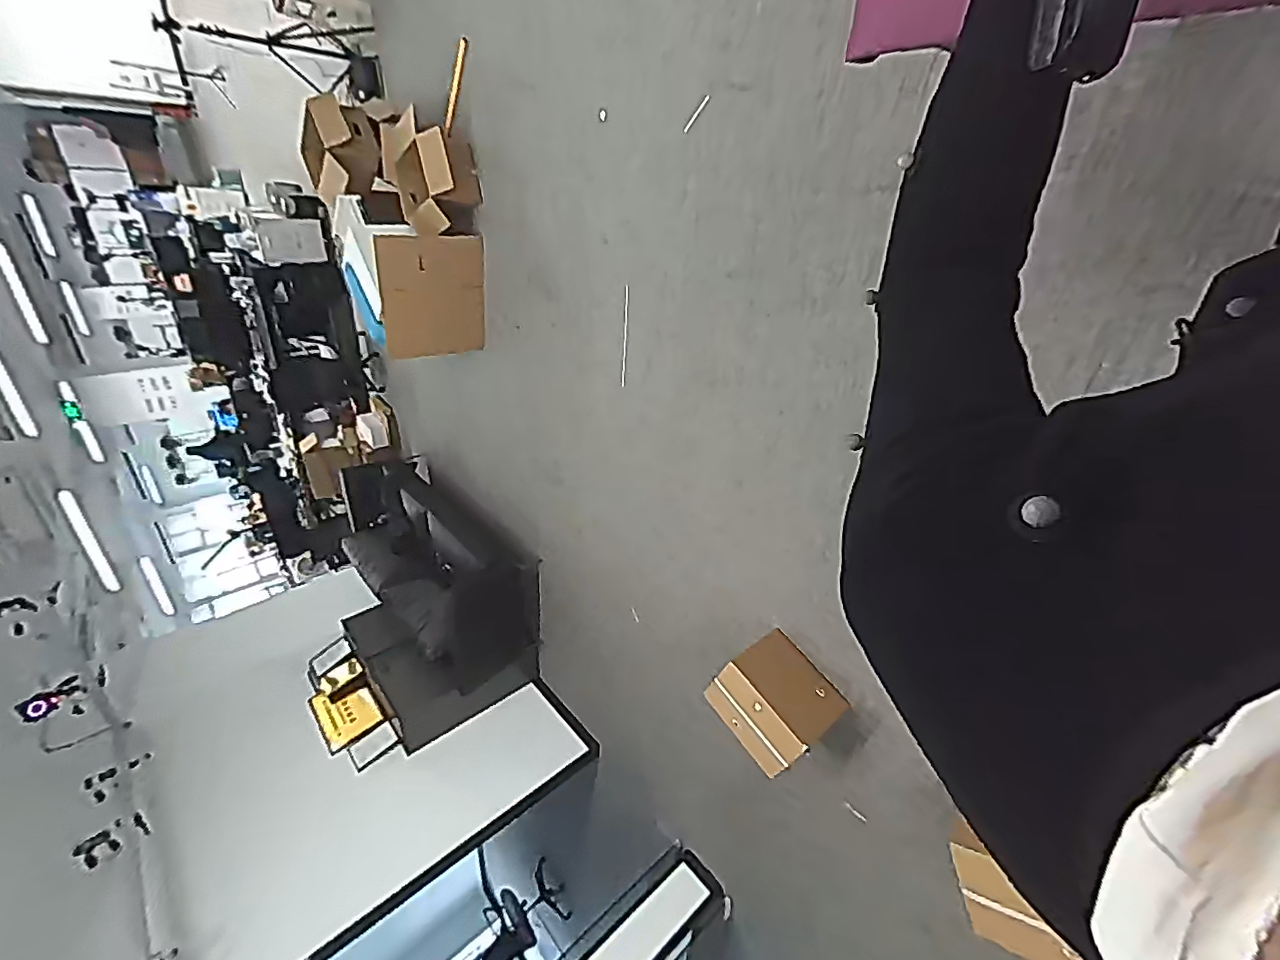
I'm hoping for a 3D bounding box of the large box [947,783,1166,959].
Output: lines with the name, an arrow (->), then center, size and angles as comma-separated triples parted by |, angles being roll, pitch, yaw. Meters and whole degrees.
large box -> 1.178, 1.144, 1.542 | 0.408, 0.320, 0.320 | -13, 97, 51
